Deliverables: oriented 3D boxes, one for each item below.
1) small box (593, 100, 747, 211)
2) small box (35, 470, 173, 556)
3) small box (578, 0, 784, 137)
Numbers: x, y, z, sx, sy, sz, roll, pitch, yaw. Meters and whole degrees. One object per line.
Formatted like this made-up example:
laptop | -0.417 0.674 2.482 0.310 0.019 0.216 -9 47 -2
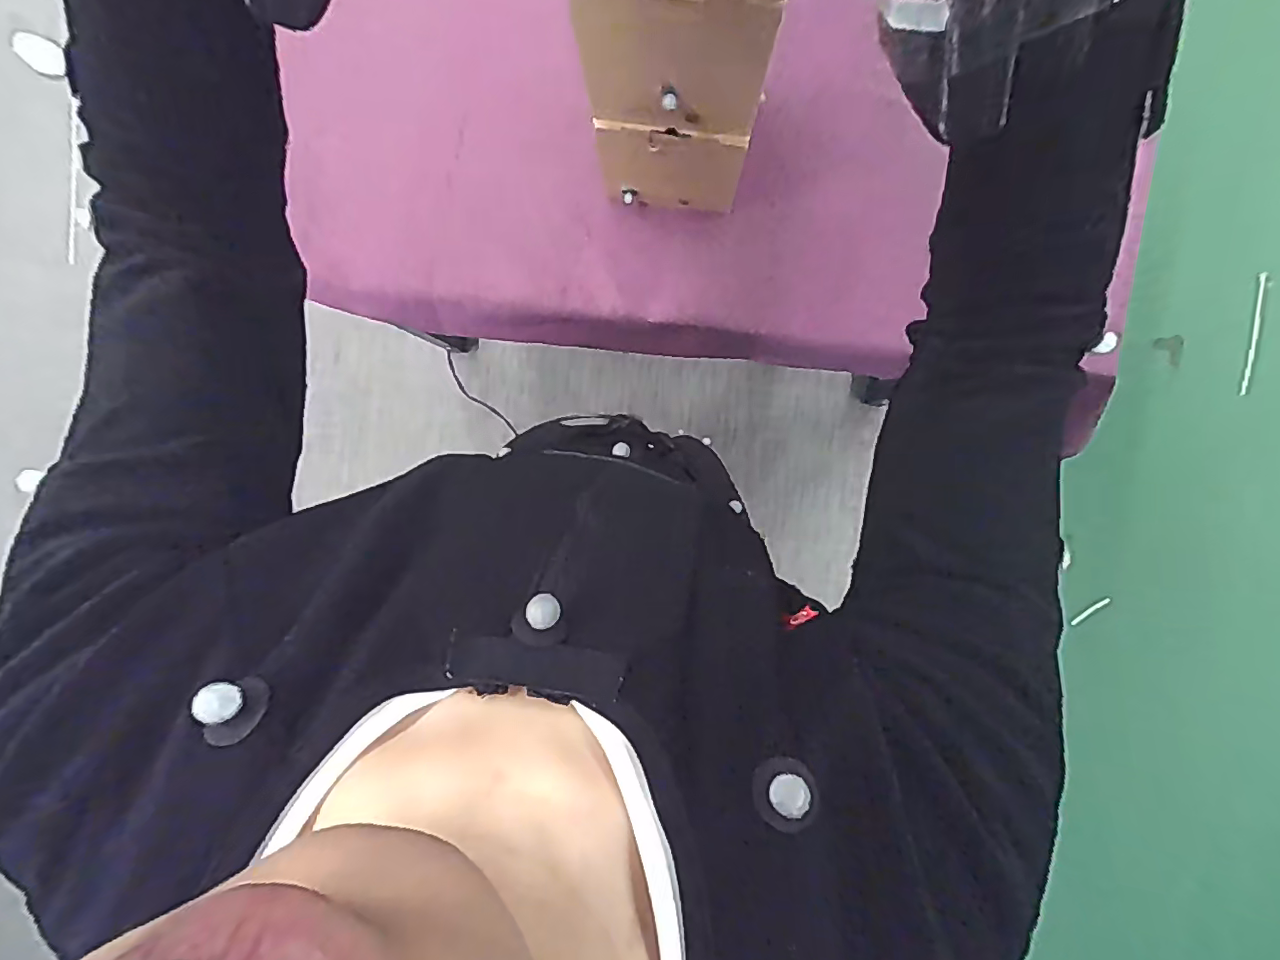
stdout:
small box | 0.046 -0.447 0.642 0.168 0.176 0.179 8 92 1
small box | -1.250 0.071 1.272 0.168 0.176 0.179 5 92 1
small box | 0.040 -0.448 0.478 0.168 0.176 0.179 8 93 2
